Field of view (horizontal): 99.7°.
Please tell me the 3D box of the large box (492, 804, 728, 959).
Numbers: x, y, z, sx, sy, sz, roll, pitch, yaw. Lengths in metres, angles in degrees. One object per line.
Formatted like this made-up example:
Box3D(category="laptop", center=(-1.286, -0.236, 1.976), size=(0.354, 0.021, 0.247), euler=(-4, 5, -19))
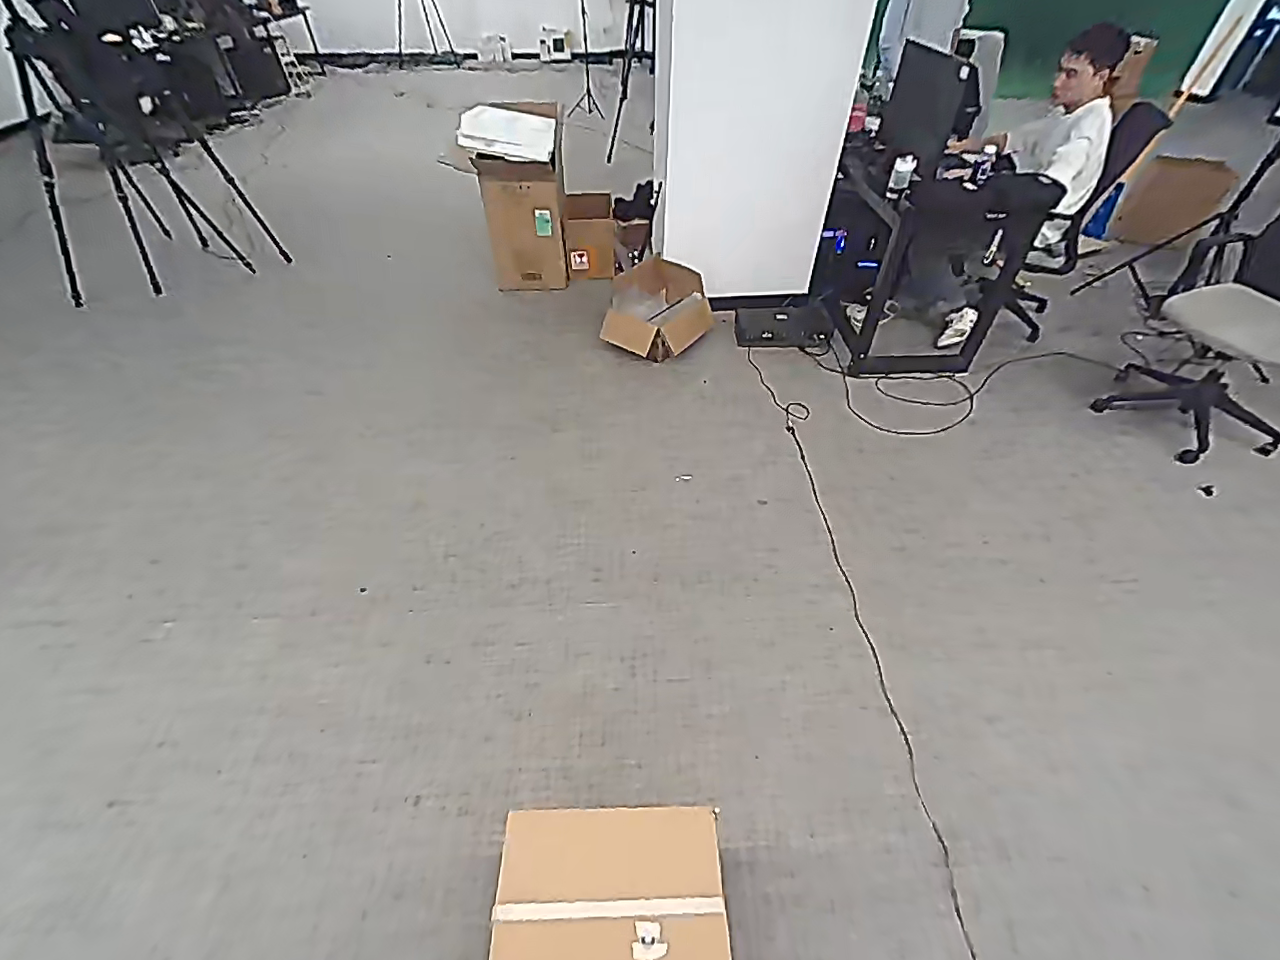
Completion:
Box3D(category="large box", center=(-0.057, 0.860, 1.062), size=(0.408, 0.320, 0.320), euler=(0, 45, -2))
